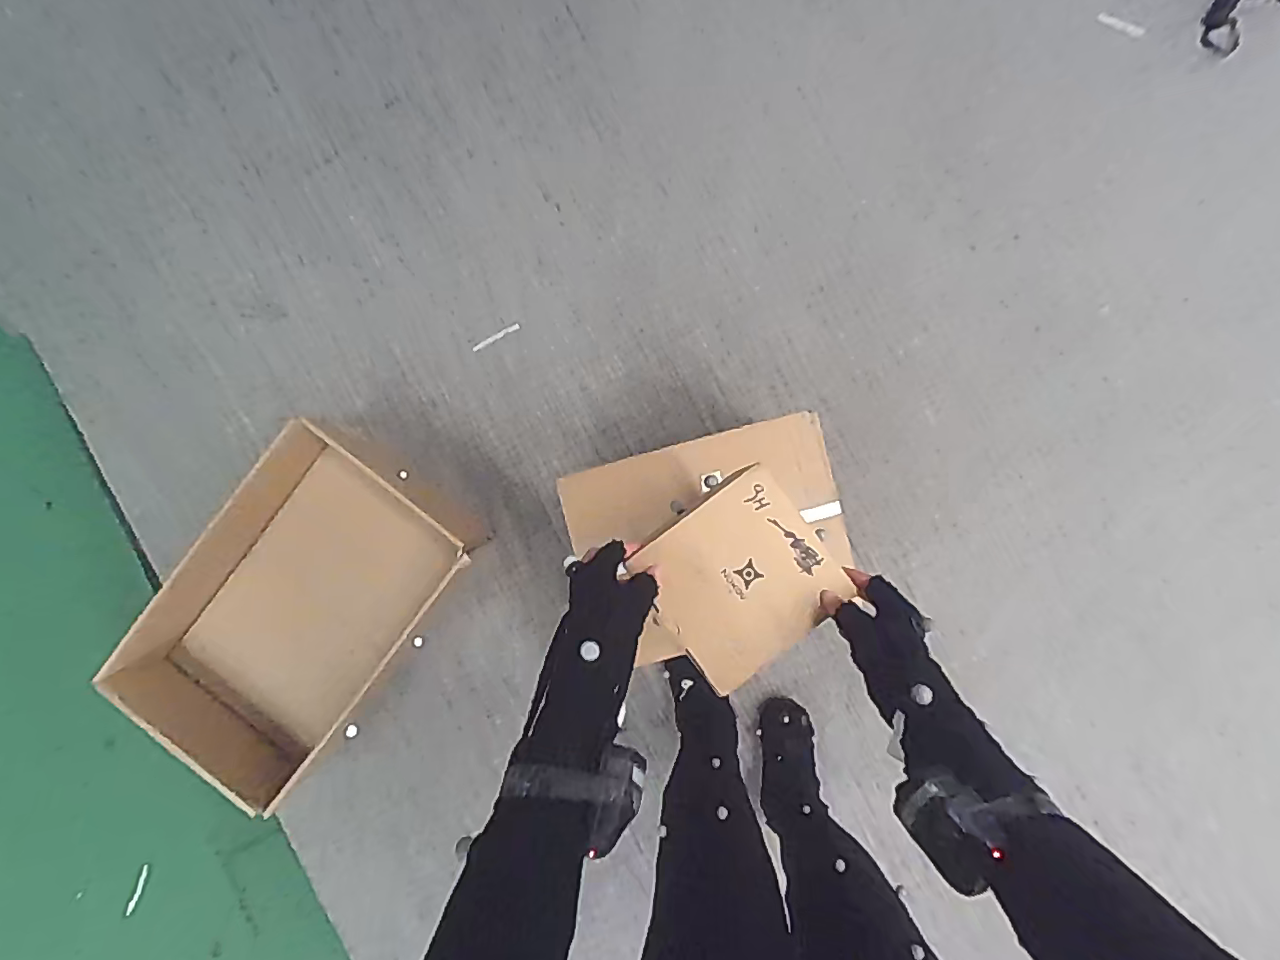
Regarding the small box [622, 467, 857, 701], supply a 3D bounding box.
[{"bbox_3d":[0.100,0.107,0.610,0.179,0.176,0.168,-38,87,-1],"label":"small box"}]
